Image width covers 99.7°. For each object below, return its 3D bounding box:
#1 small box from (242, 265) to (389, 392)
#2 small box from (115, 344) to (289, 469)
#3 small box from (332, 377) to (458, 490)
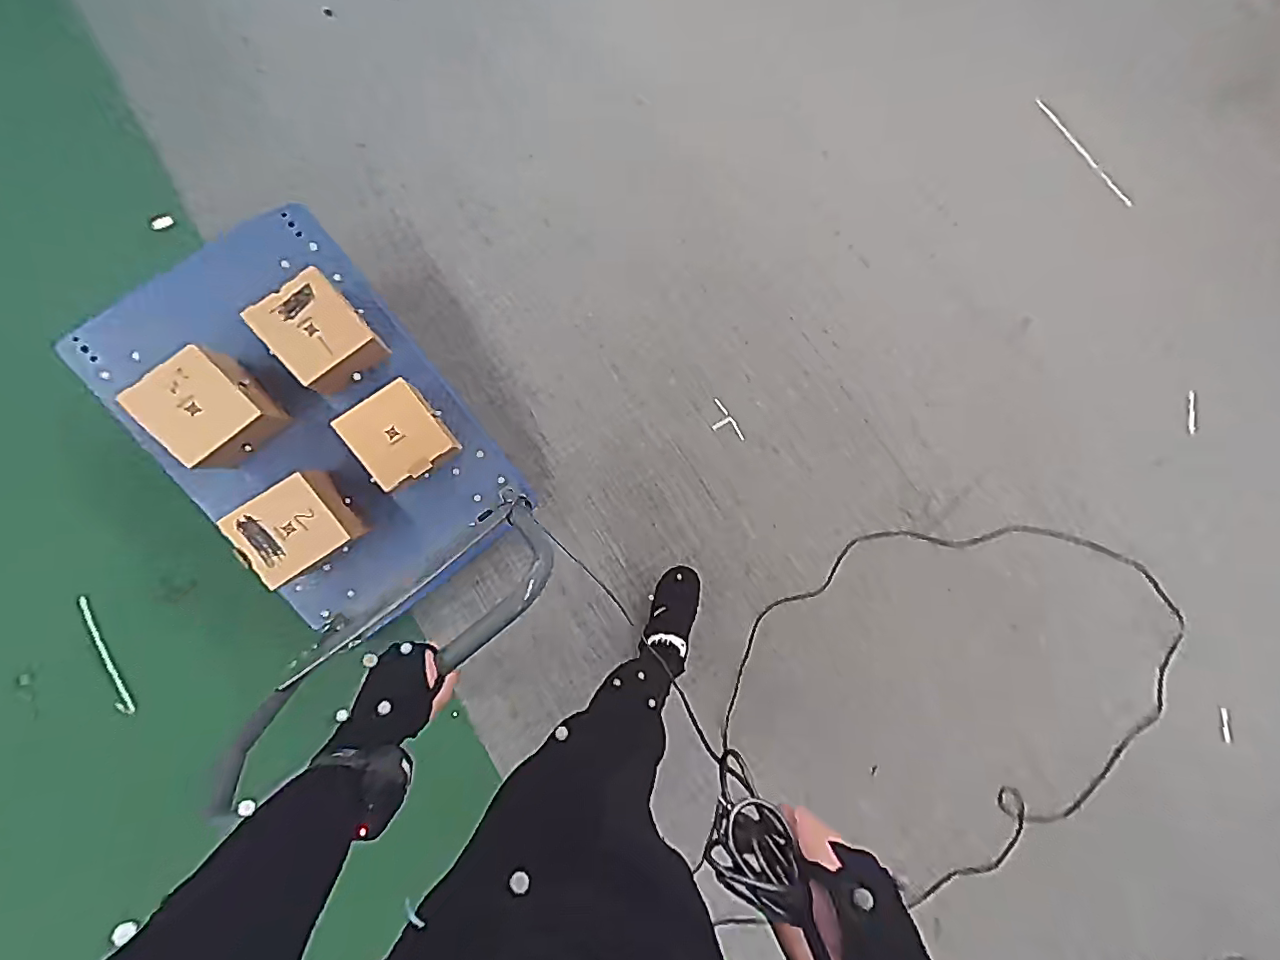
[{"bbox_3d":[-0.658,-0.303,1.122,0.168,0.176,0.179,-40,100,-9],"label":"small box"},{"bbox_3d":[-0.853,-0.140,1.078,0.168,0.176,0.179,-42,100,-10],"label":"small box"},{"bbox_3d":[-0.514,-0.094,1.164,0.168,0.176,0.179,-37,100,-10],"label":"small box"}]
